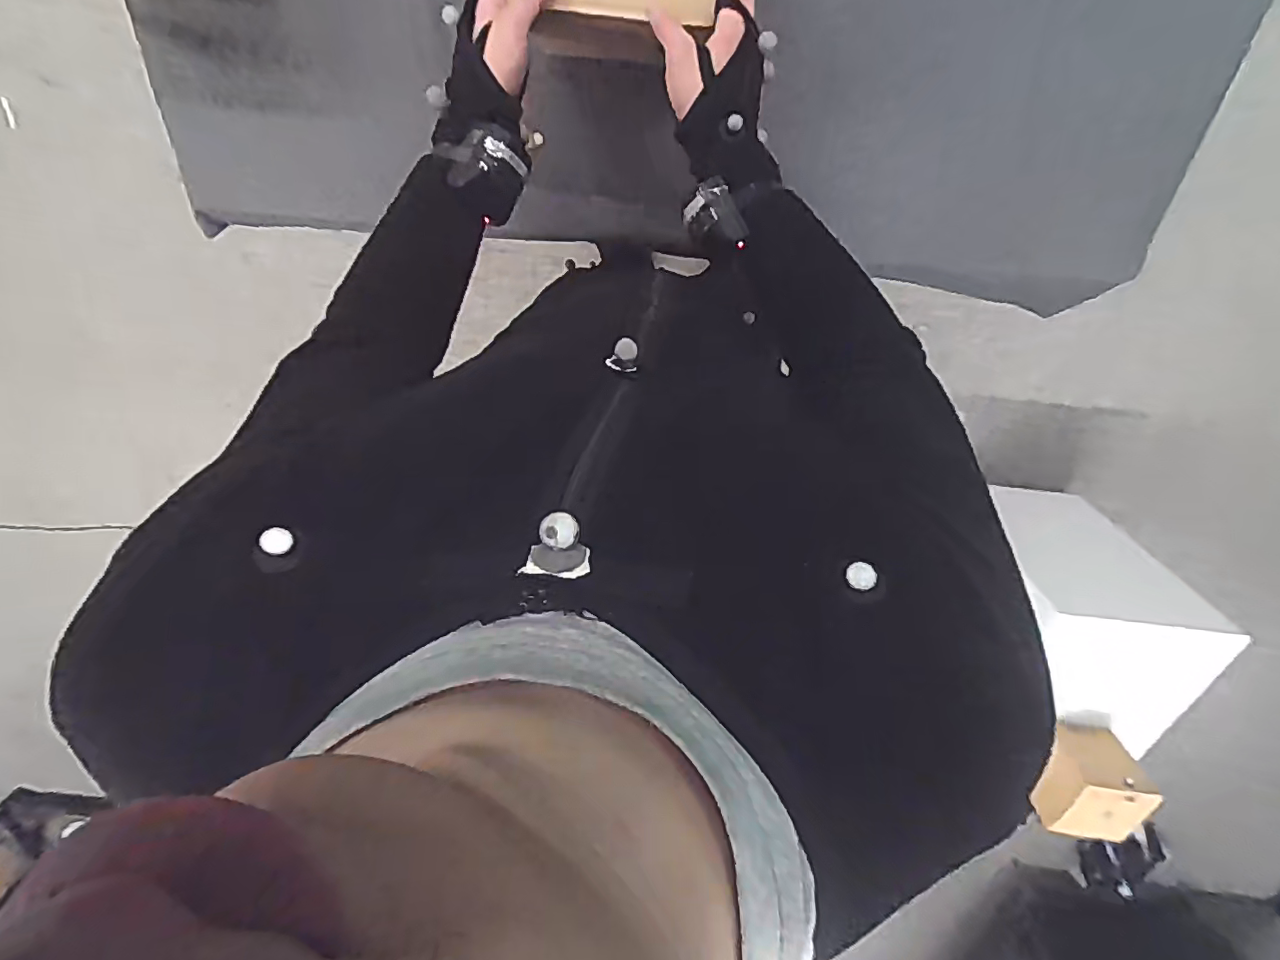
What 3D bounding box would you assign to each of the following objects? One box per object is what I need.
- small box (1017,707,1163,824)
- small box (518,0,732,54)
[{"bbox_3d":[1.027,0.661,1.258,0.168,0.176,0.179,6,119,-2],"label":"small box"},{"bbox_3d":[-0.009,-0.483,0.455,0.179,0.176,0.168,4,117,-1],"label":"small box"}]
